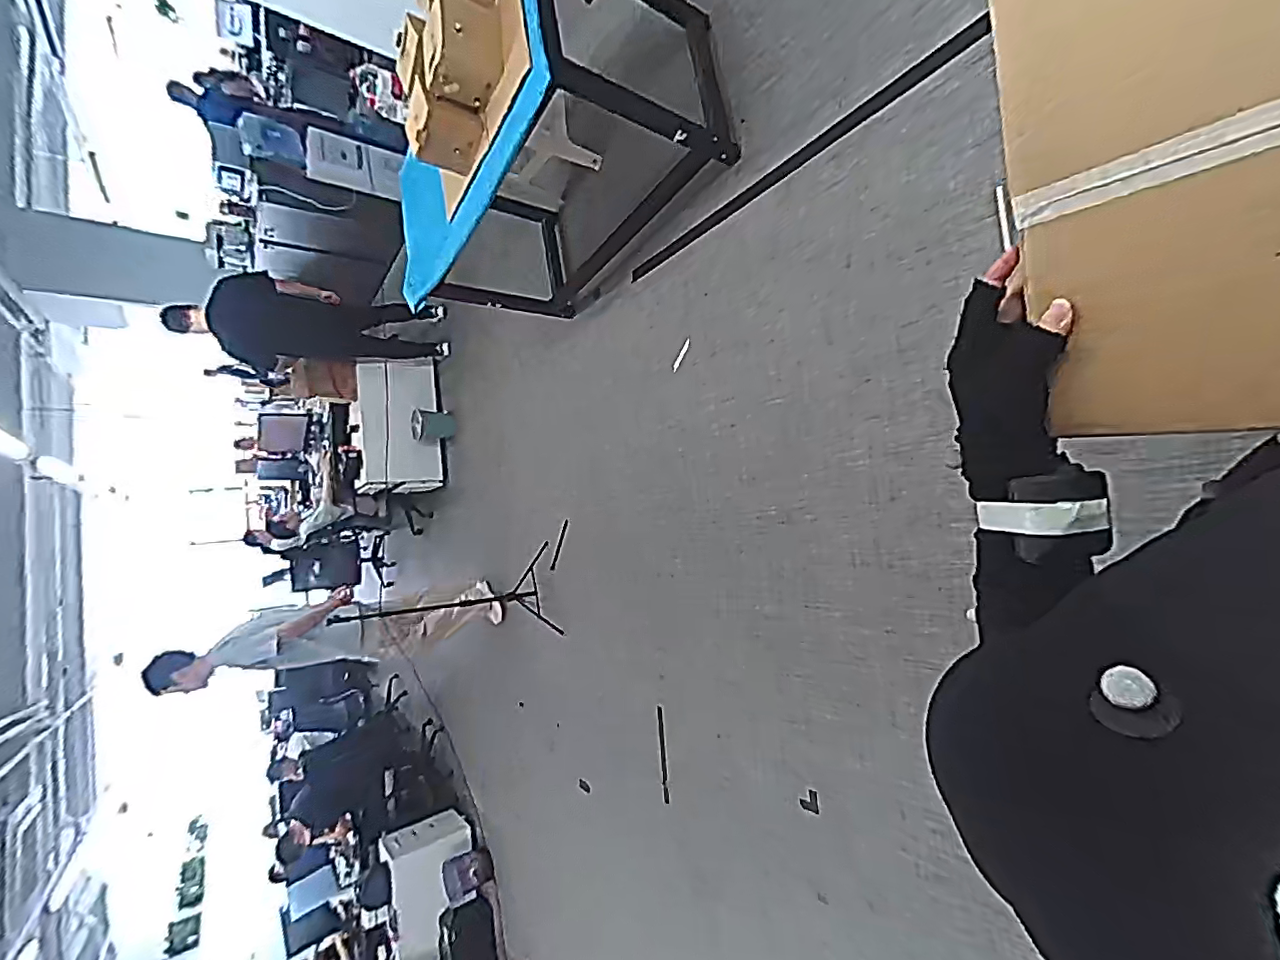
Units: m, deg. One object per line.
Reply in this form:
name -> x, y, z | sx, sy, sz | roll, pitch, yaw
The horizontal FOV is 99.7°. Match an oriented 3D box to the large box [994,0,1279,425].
large box -> 0.490, -0.231, 0.290 | 0.408, 0.320, 0.320 | 1, 110, 55
